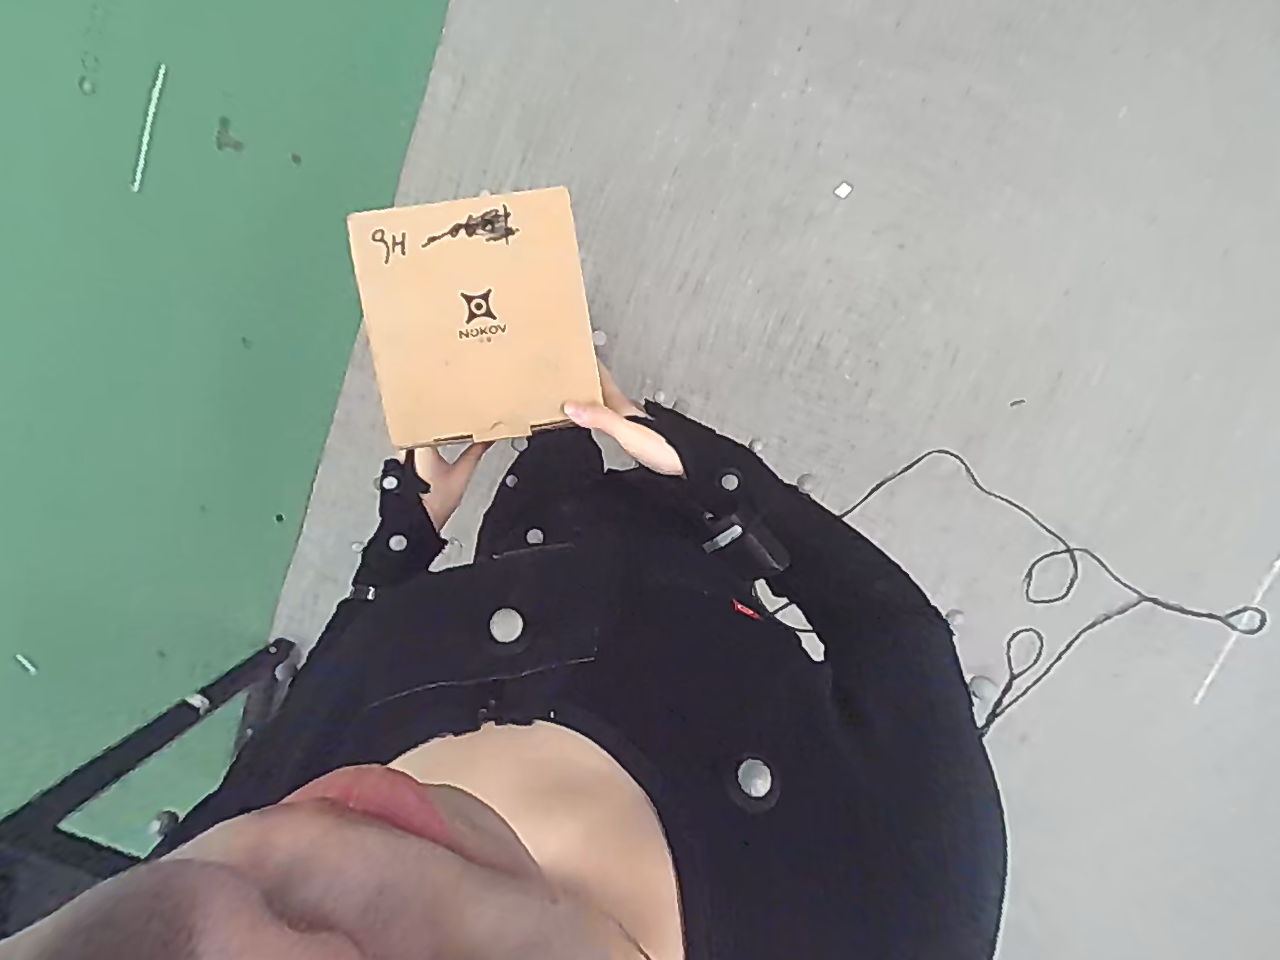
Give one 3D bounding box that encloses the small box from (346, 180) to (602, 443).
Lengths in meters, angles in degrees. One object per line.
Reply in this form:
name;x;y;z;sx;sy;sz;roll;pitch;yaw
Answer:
small box;-0.126;-0.134;0.482;0.168;0.176;0.179;-9;97;-3
